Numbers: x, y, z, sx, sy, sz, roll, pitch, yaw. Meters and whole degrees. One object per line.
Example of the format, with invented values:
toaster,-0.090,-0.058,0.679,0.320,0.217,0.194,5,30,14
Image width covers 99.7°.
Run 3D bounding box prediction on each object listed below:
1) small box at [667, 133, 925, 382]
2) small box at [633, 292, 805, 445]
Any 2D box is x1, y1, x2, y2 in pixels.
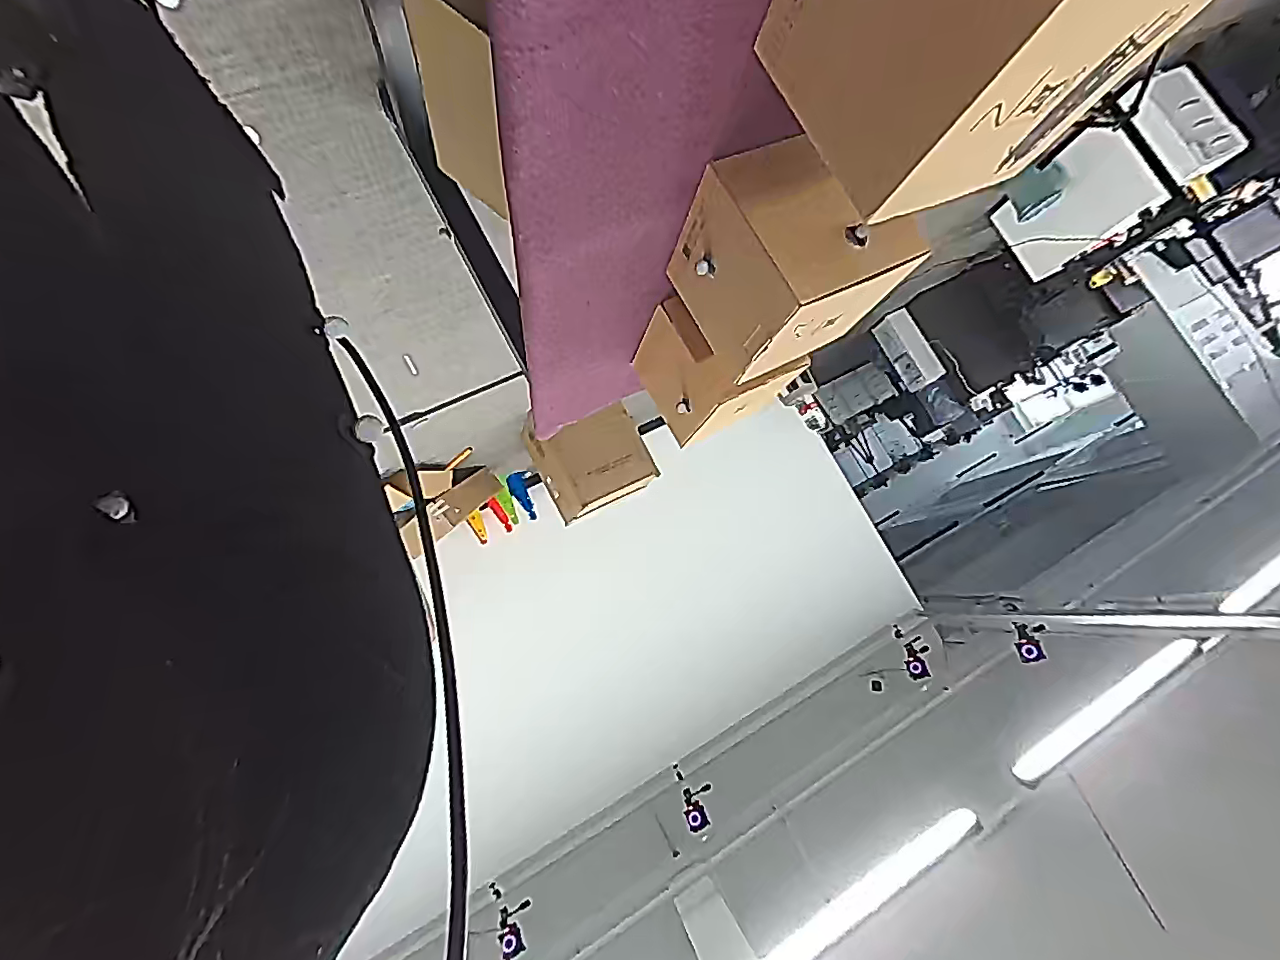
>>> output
small box,0.159,-0.242,0.598,0.179,0.176,0.168,-26,171,-18
small box,0.108,-0.182,0.825,0.168,0.176,0.179,-27,172,-20
